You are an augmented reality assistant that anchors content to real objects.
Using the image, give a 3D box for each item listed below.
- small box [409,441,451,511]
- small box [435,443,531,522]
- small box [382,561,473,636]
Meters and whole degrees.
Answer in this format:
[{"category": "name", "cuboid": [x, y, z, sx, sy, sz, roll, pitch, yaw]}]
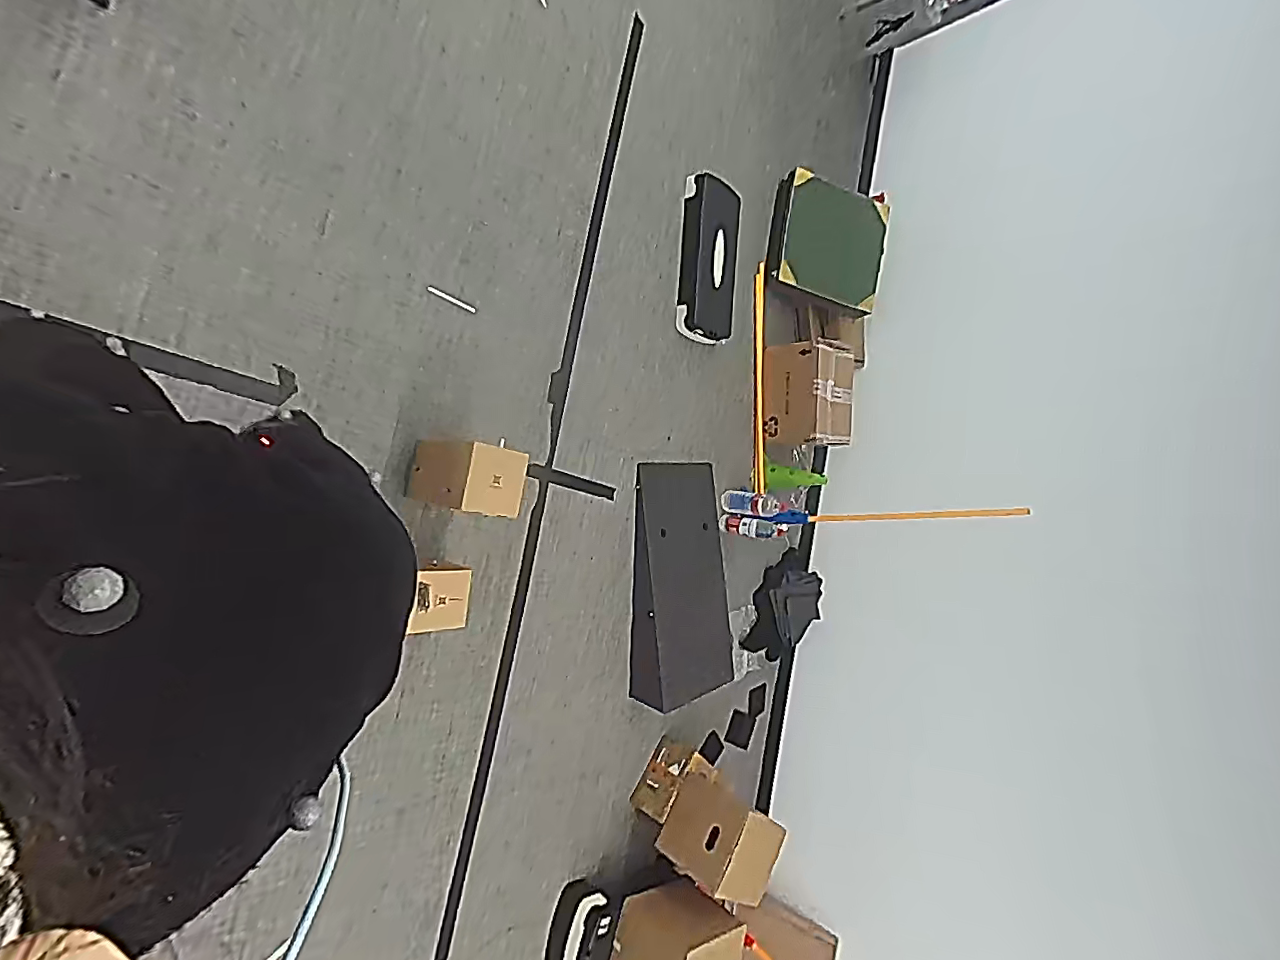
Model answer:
[{"category": "small box", "cuboid": [-0.530, -0.005, 1.527, 0.168, 0.176, 0.179, 18, 83, -46]}, {"category": "small box", "cuboid": [-0.415, 0.005, 1.412, 0.168, 0.176, 0.179, 15, 83, -46]}, {"category": "small box", "cuboid": [-0.593, 0.323, 1.501, 0.179, 0.176, 0.168, 8, 89, -47]}]
